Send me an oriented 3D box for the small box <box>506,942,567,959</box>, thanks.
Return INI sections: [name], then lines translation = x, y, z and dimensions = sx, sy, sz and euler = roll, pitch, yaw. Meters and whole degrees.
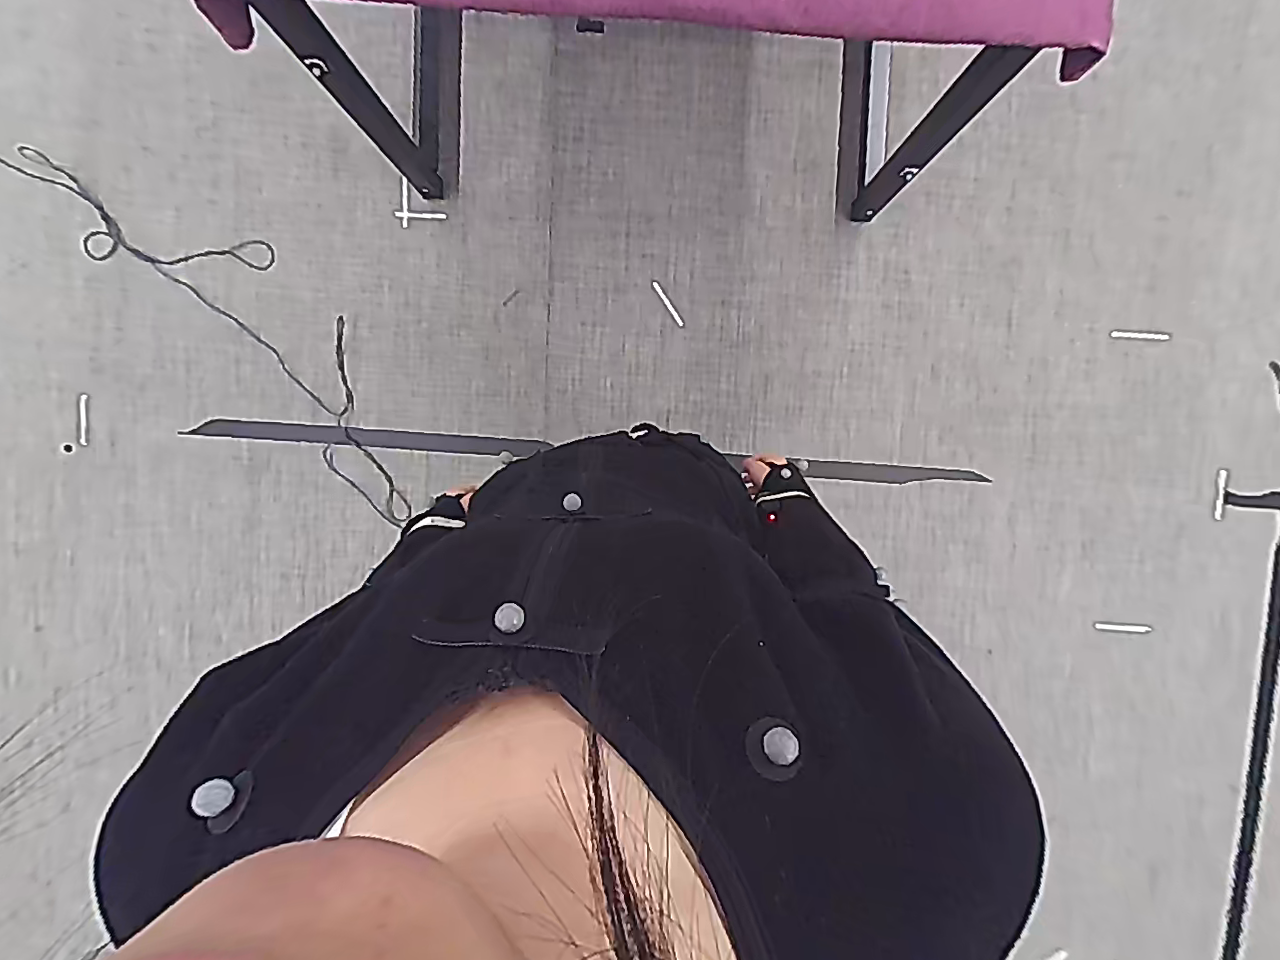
[small box]
translation = -0.285, 1.402, 1.455
dimensions = 0.168, 0.176, 0.179
euler = -3, 94, -1
